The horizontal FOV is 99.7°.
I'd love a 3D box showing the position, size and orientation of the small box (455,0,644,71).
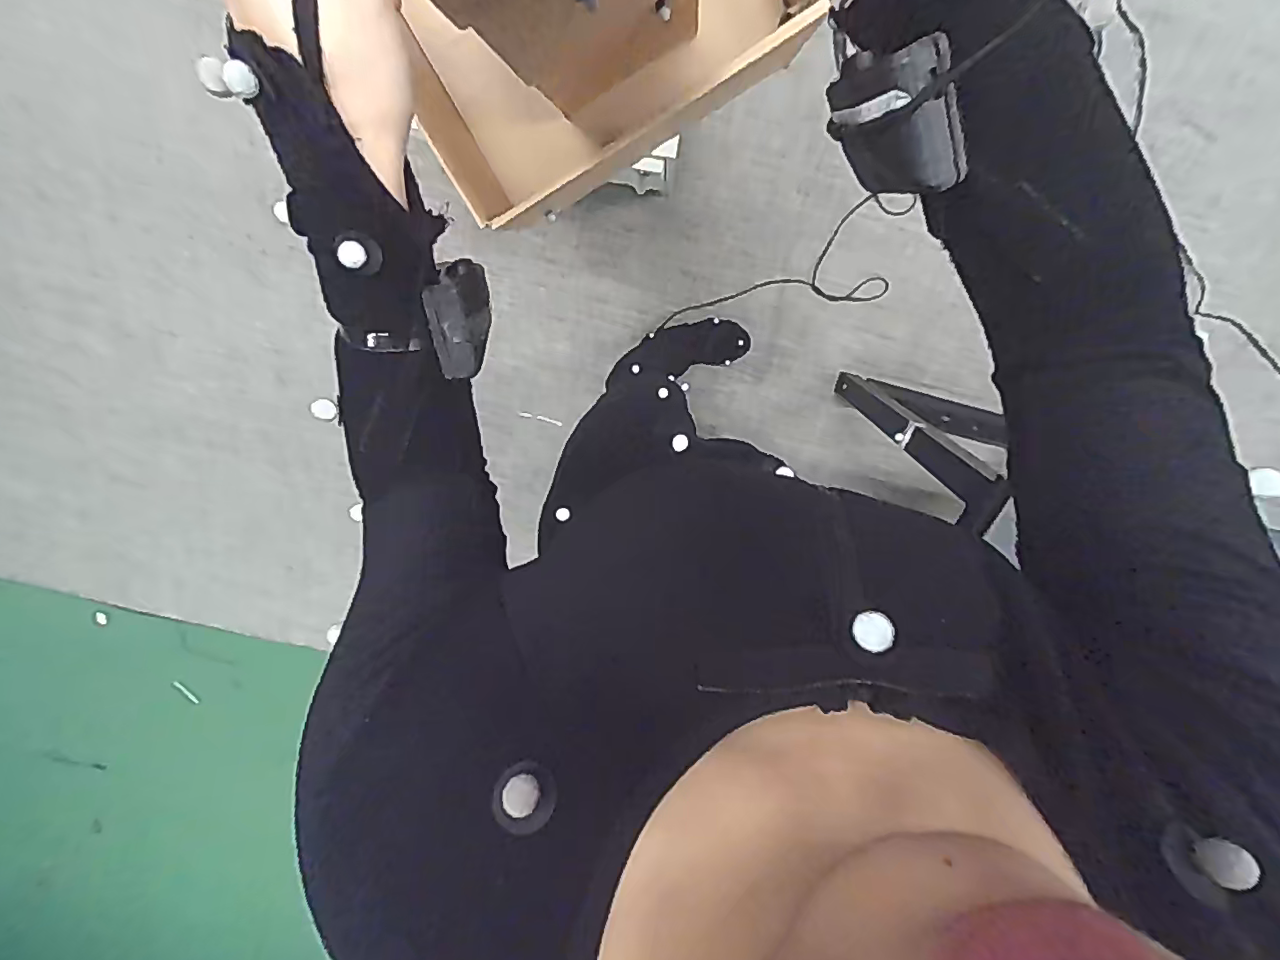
[{"bbox_3d":[-0.067,-0.430,0.367,0.179,0.176,0.168,-24,108,15],"label":"small box"}]
